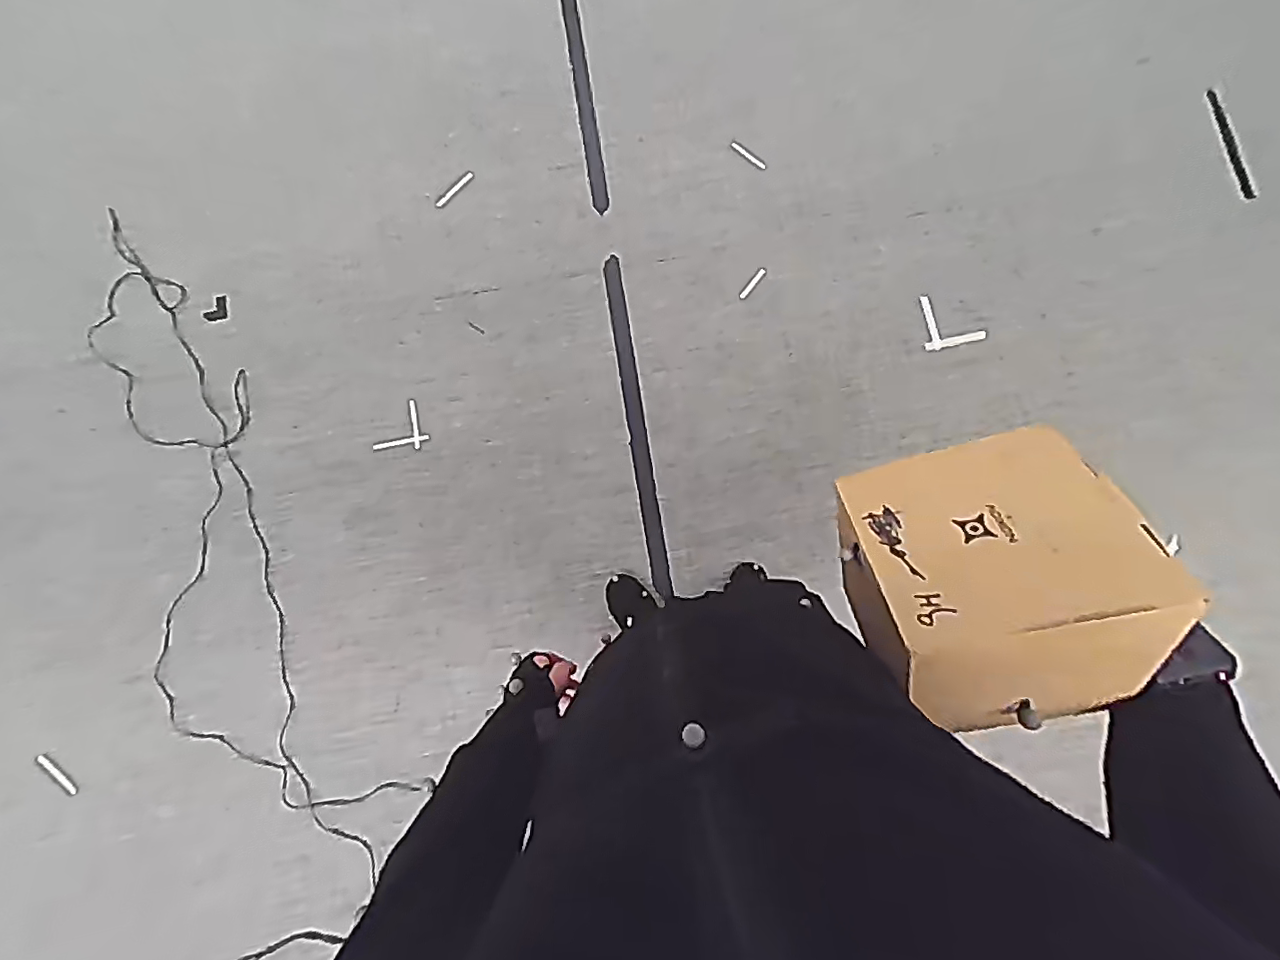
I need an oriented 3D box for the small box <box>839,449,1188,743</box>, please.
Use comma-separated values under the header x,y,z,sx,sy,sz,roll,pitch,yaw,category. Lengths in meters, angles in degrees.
x,y,z,sx,sy,sz,roll,pitch,yaw,category
0.283,0.104,0.464,0.179,0.176,0.168,-14,43,10,small box
